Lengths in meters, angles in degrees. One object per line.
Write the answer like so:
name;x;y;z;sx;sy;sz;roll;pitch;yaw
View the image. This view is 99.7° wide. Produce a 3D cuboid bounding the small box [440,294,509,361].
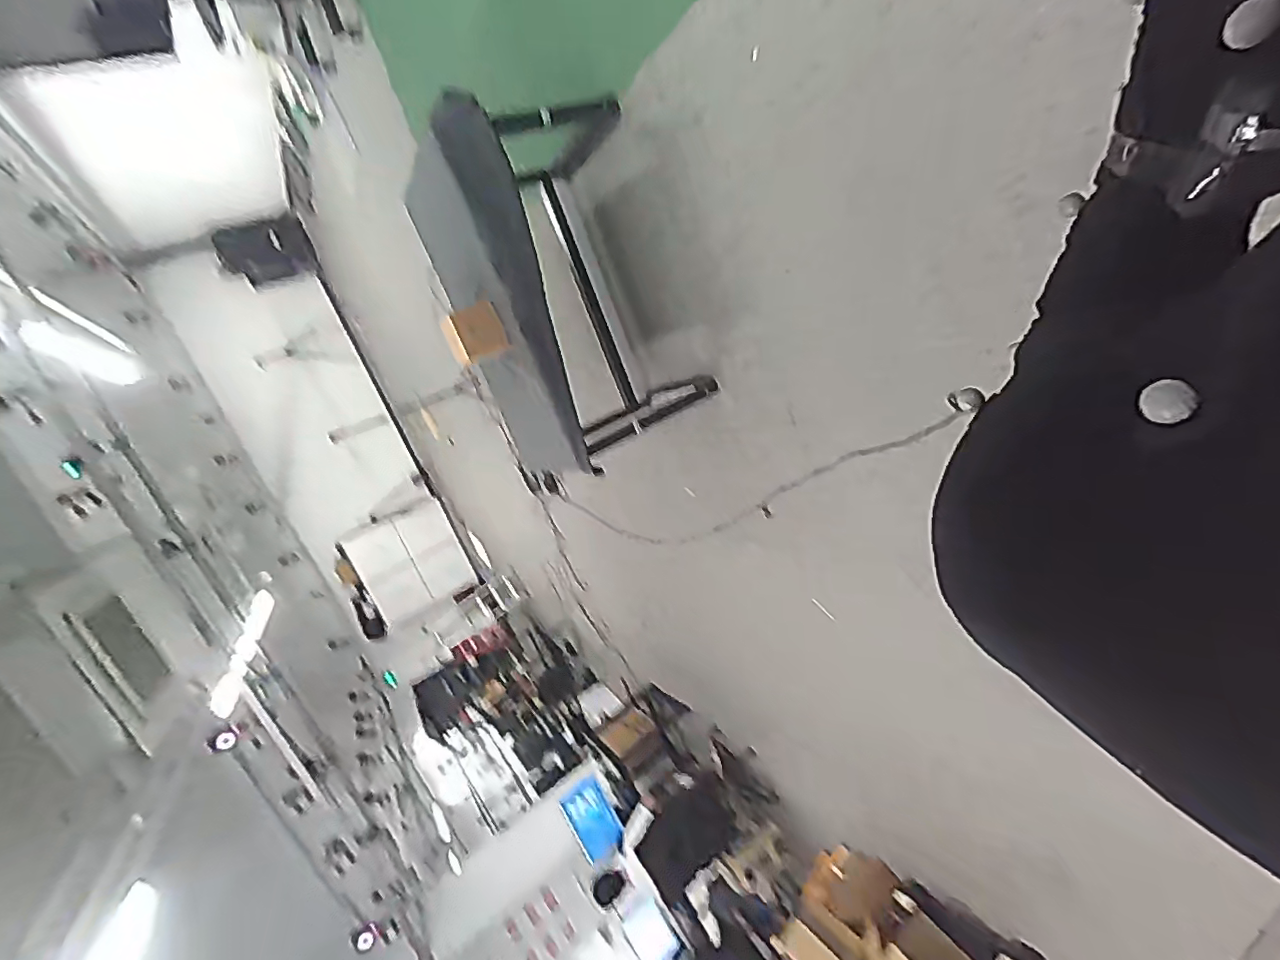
small box;-0.600;-0.554;1.966;0.168;0.176;0.179;2;117;59
